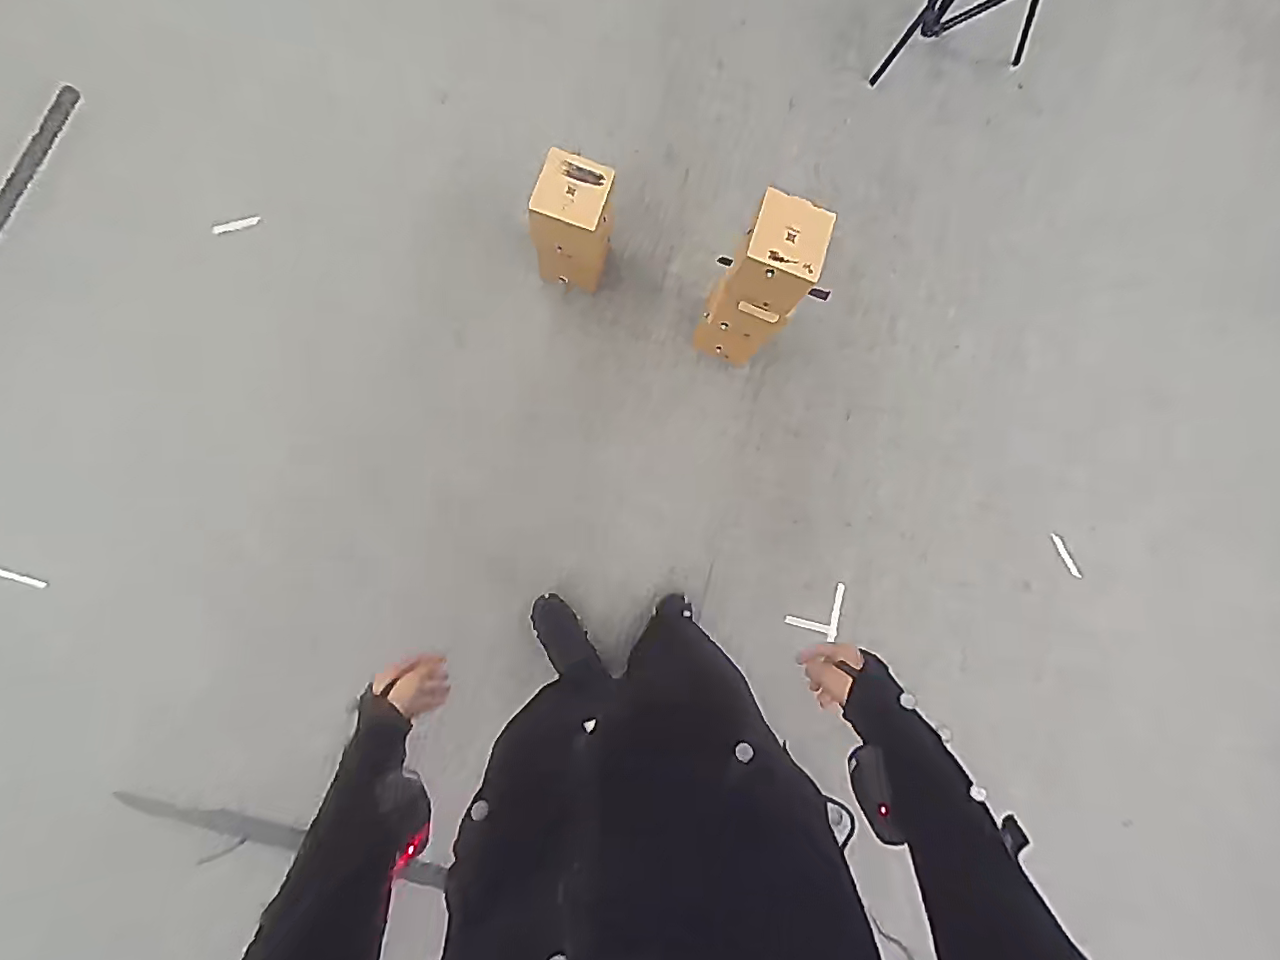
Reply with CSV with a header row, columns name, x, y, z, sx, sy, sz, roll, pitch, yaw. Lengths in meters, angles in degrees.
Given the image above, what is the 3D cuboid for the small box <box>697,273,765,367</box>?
name,x,y,z,sx,sy,sz,roll,pitch,yaw
small box,0.278,-0.454,1.558,0.168,0.176,0.179,20,80,-5

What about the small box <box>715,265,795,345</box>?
name,x,y,z,sx,sy,sz,roll,pitch,yaw
small box,0.308,-0.477,1.398,0.168,0.176,0.179,20,79,-5

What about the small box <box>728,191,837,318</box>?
name,x,y,z,sx,sy,sz,roll,pitch,yaw
small box,0.317,-0.507,1.235,0.168,0.176,0.179,20,79,-5

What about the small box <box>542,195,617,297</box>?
name,x,y,z,sx,sy,sz,roll,pitch,yaw
small box,-0.173,-0.653,1.525,0.168,0.176,0.179,16,79,-4
